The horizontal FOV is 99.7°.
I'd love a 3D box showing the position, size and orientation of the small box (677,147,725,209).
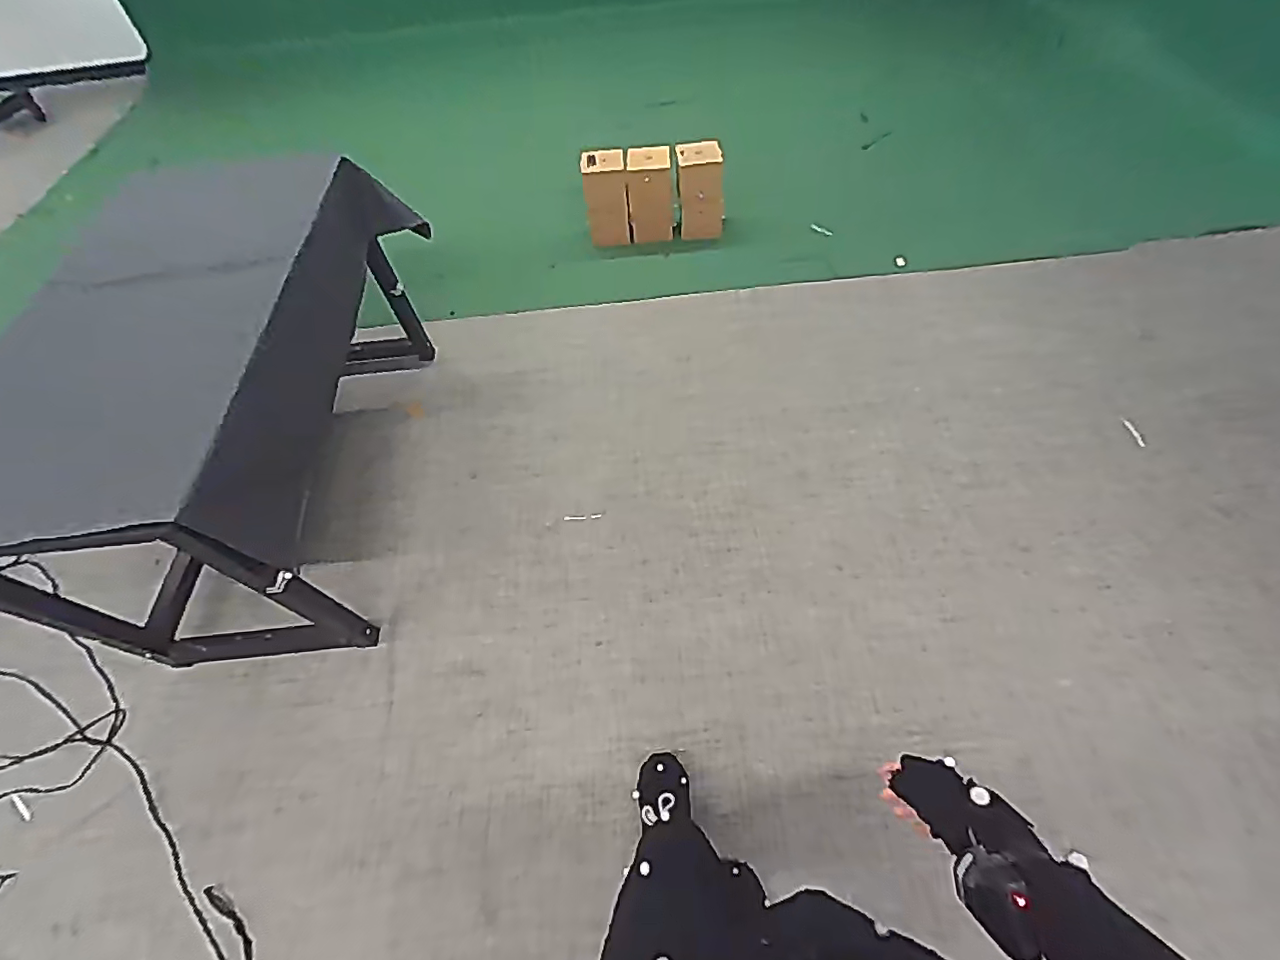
[{"bbox_3d":[0.248,-1.257,2.254,0.179,0.176,0.168,-4,56,0],"label":"small box"}]
